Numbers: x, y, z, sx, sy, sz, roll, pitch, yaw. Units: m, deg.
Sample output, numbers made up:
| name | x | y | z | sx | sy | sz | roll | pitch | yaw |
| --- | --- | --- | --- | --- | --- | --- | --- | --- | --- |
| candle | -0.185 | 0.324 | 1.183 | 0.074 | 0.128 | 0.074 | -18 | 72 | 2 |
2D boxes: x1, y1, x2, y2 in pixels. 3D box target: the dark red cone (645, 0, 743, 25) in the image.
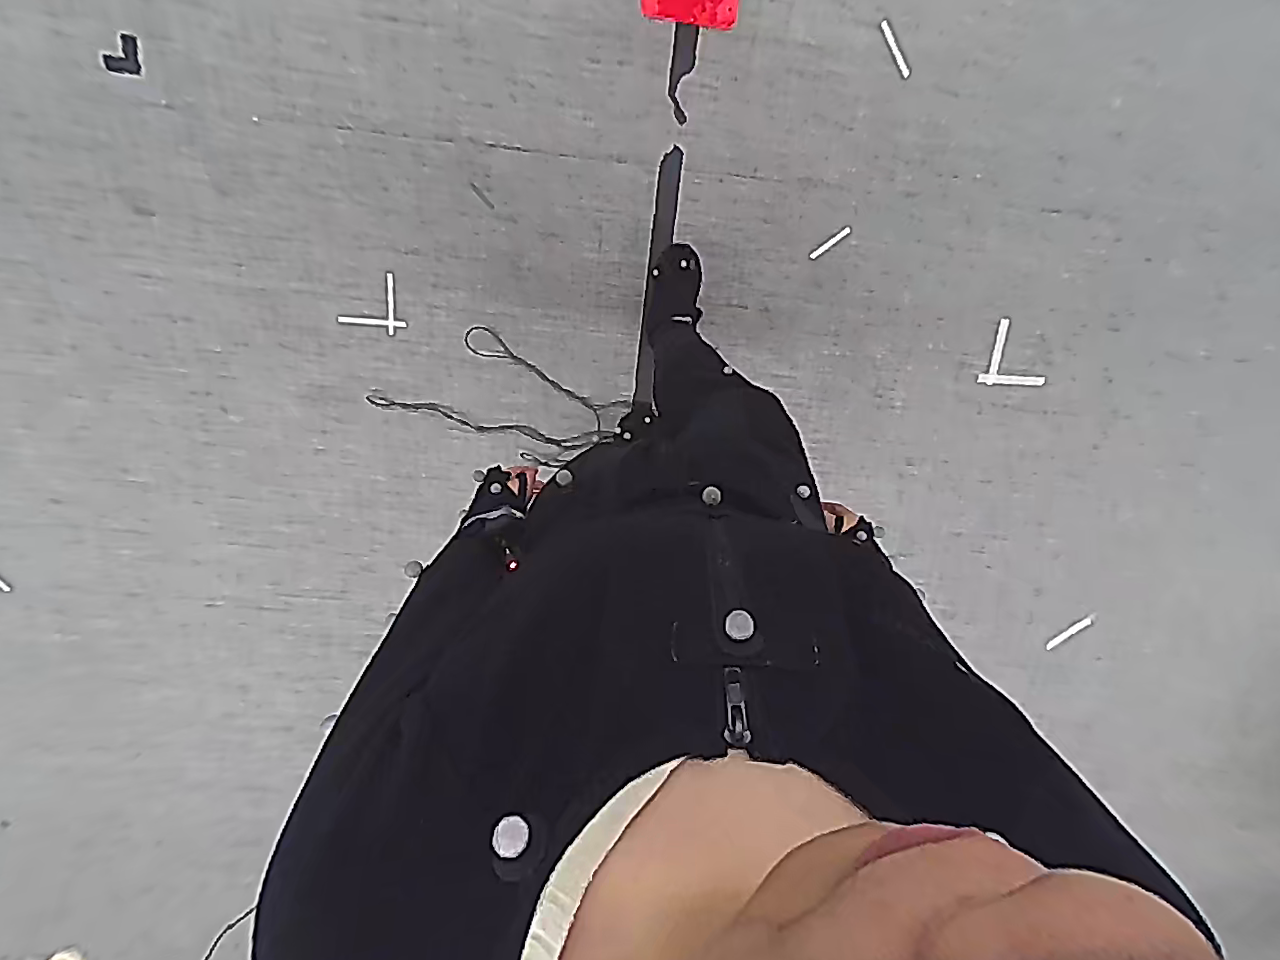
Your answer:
| name | x | y | z | sx | sy | sz | roll | pitch | yaw |
| --- | --- | --- | --- | --- | --- | --- | --- | --- | --- |
| dark red cone | 0.117 | -0.974 | 0.902 | 0.201 | 0.394 | 0.202 | 5 | 106 | -3 |
